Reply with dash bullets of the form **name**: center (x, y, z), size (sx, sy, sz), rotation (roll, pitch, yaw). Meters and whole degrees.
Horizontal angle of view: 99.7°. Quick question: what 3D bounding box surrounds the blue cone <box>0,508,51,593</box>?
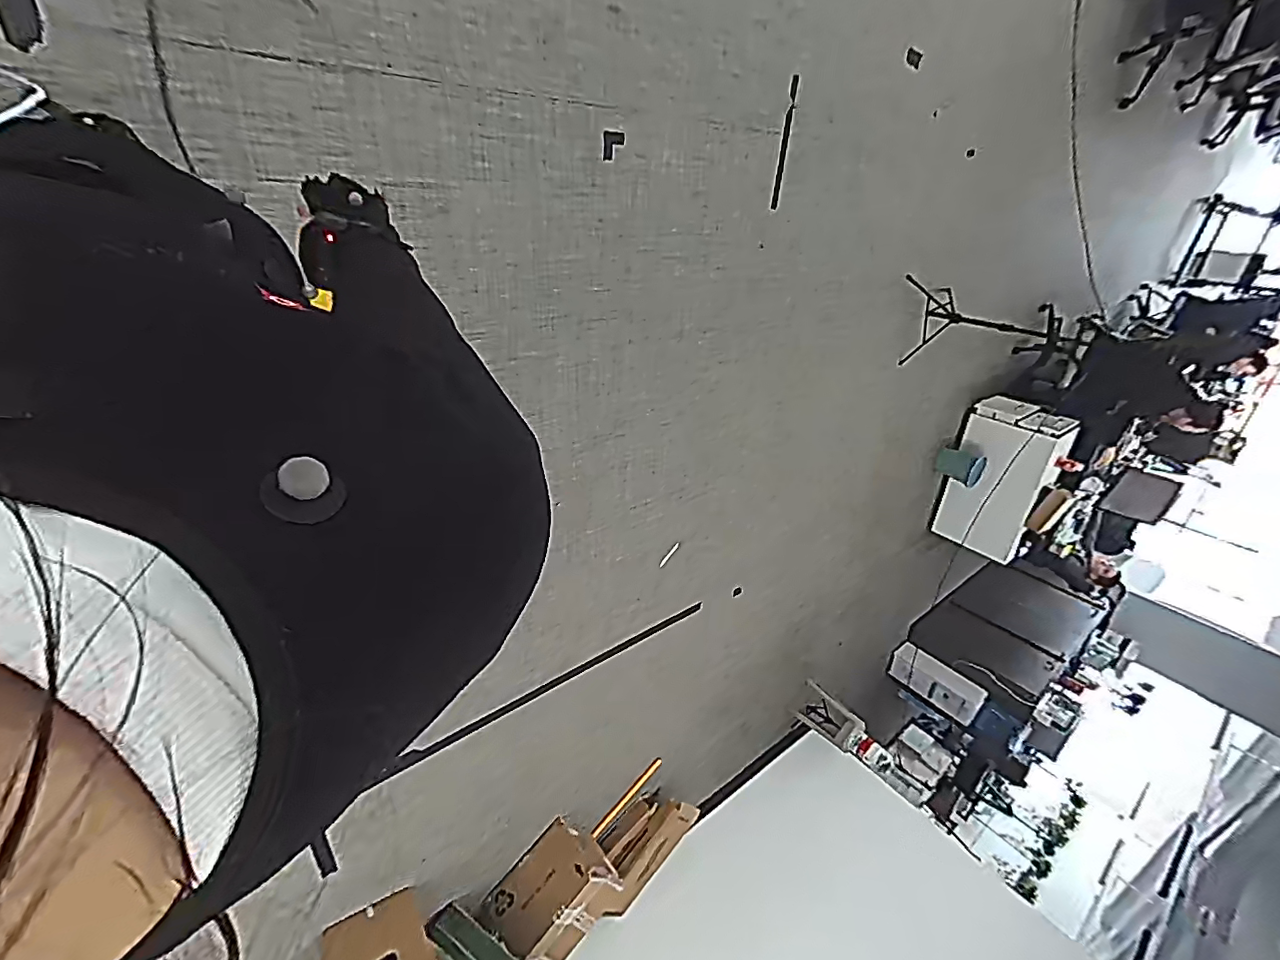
- **blue cone**: center (-1.177, 0.210, 0.916), size (0.192, 0.380, 0.193), rotation (-12, 121, -36)
